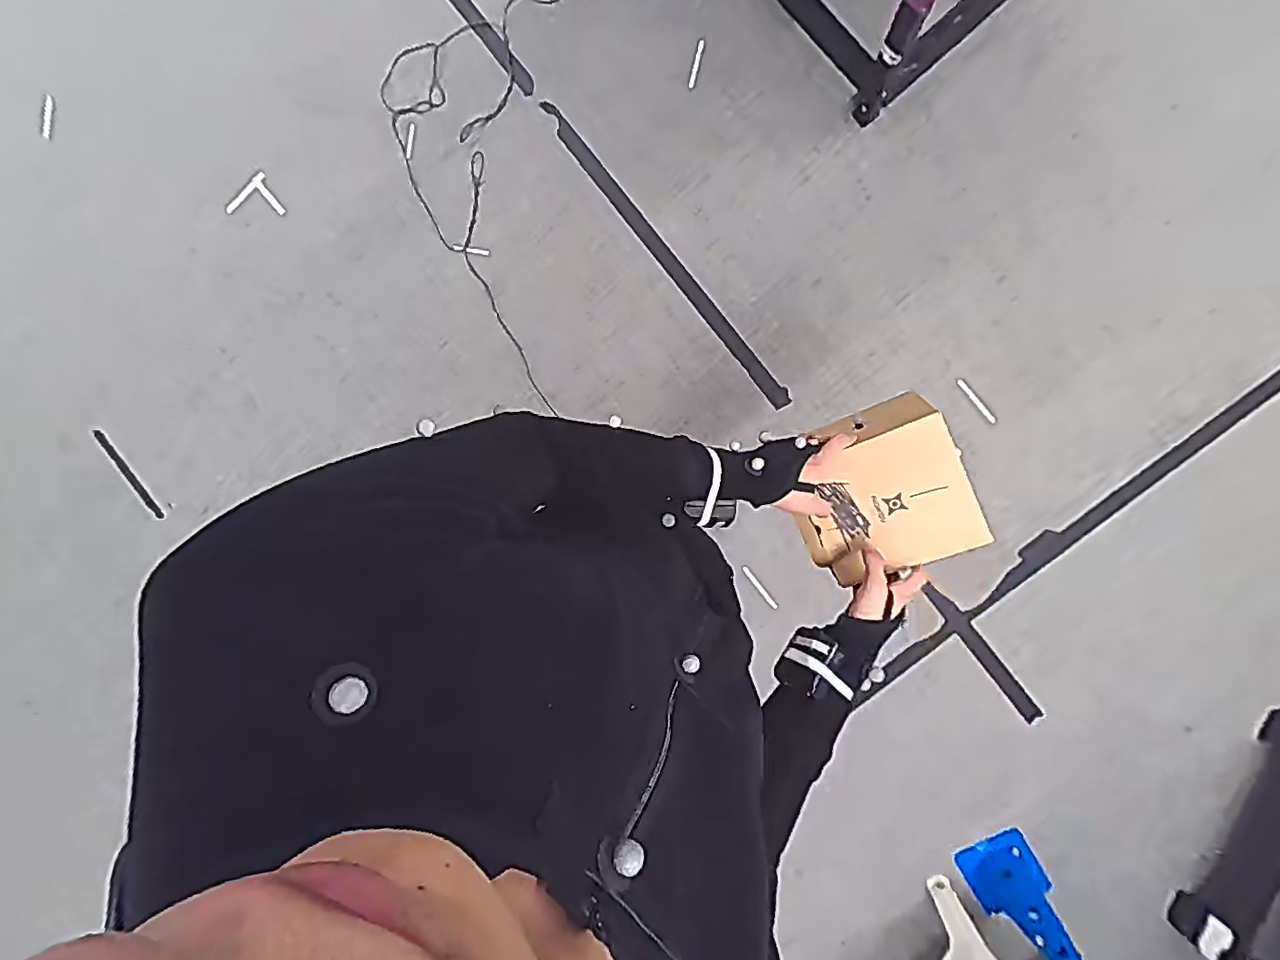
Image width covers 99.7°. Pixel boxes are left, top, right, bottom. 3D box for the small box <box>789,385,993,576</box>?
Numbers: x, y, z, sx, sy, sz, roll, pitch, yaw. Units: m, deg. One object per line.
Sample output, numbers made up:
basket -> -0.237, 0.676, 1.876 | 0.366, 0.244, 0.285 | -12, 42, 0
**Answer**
small box -> 0.308, -0.006, 0.695 | 0.179, 0.176, 0.168 | -24, 99, 22
